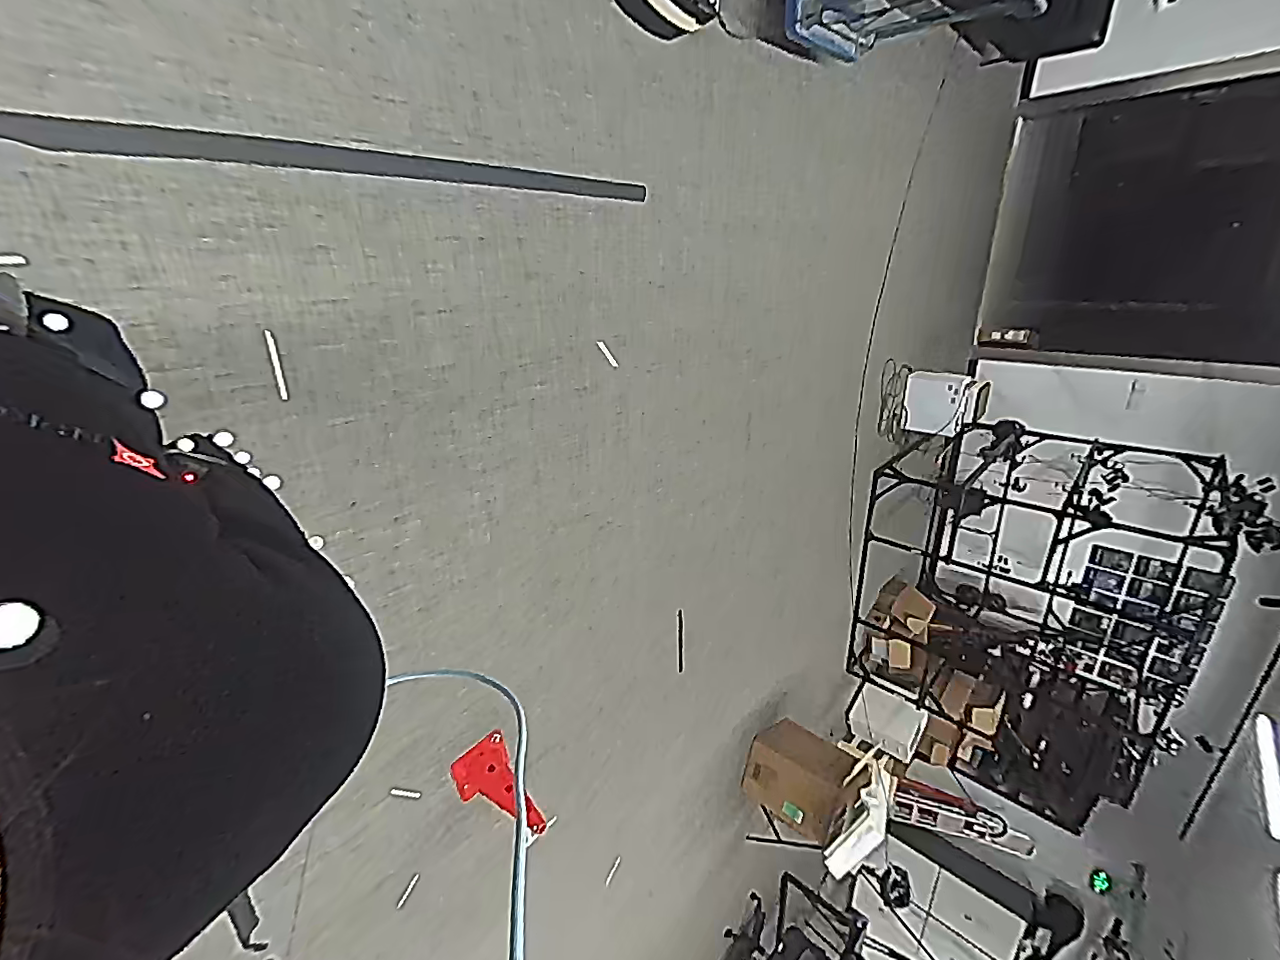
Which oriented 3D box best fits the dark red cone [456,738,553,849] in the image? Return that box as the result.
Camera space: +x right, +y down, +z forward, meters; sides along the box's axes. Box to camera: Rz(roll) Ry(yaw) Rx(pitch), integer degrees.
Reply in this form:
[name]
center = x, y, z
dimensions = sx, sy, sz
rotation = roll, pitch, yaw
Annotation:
[dark red cone]
center = -0.421, 1.061, 1.778
dimensions = 0.201, 0.394, 0.202
rotation = -30, 125, -38
